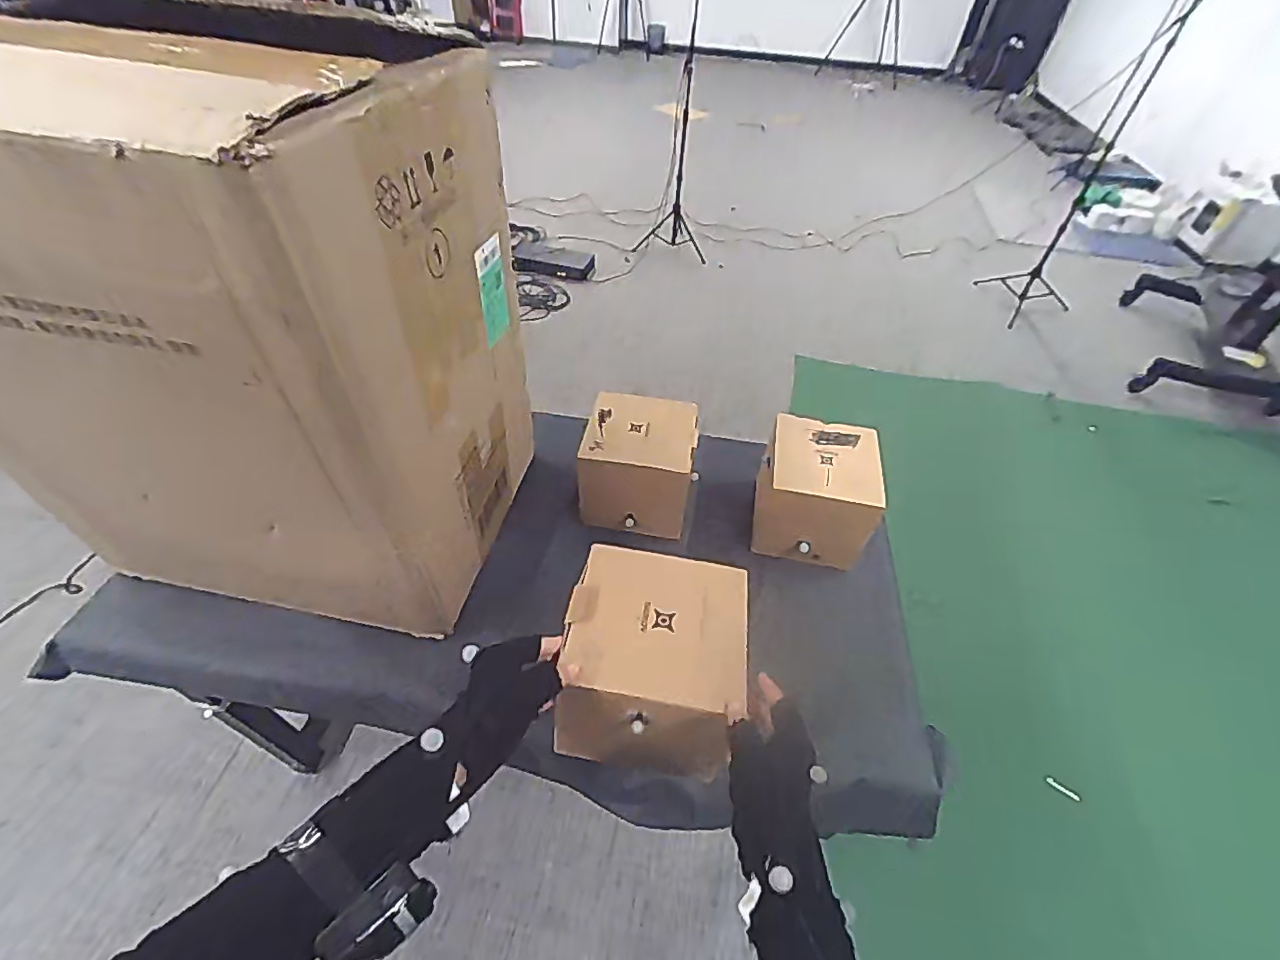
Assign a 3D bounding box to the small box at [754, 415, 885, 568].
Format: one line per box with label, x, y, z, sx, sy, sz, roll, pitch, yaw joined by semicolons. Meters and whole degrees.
small box;0.292;0.020;0.911;0.168;0.176;0.179;11;48;6
